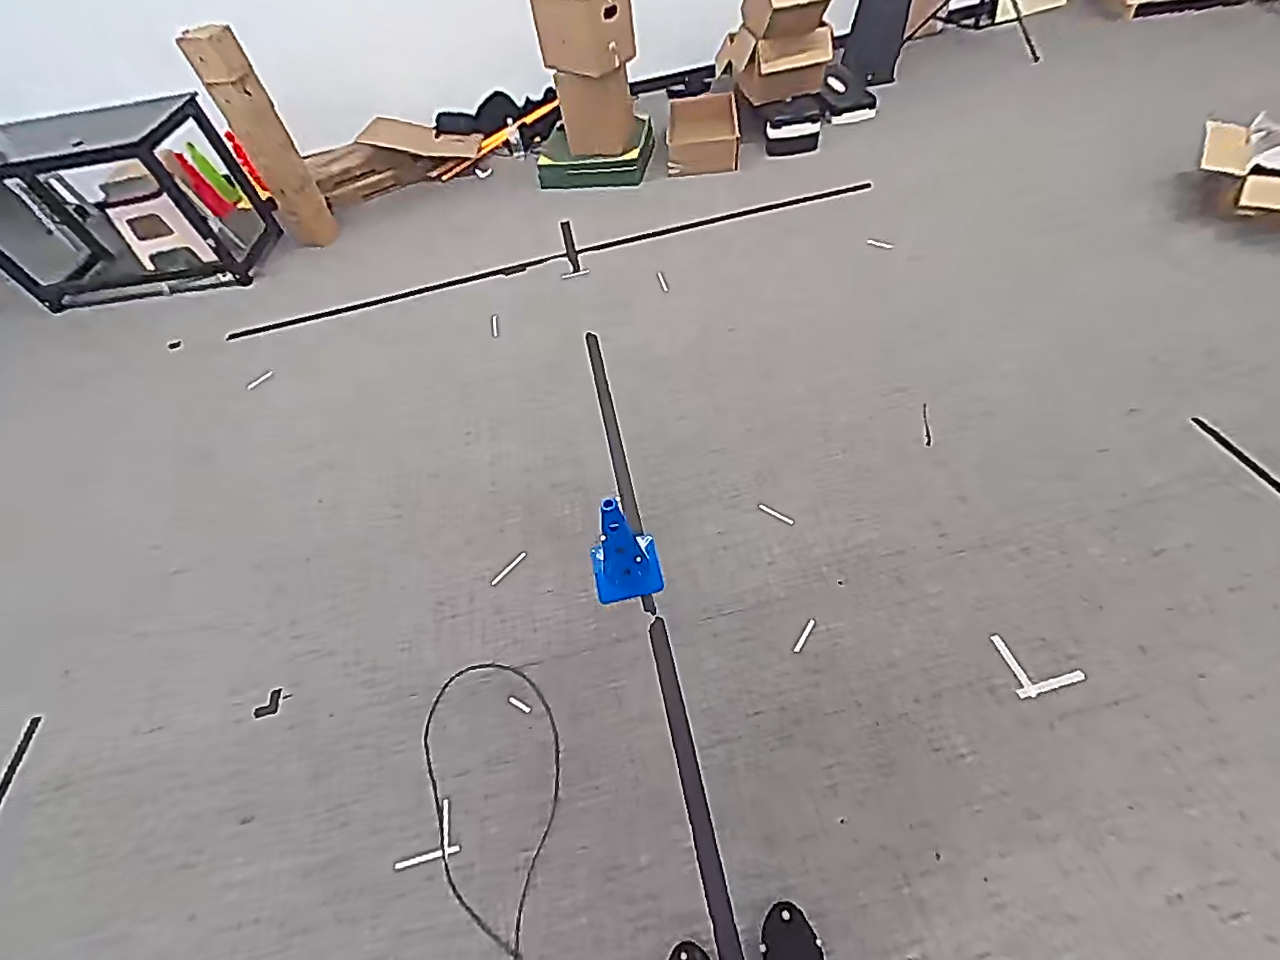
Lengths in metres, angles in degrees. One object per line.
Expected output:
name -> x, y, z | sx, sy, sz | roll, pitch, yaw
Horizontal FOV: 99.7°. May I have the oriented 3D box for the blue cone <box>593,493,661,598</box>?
blue cone -> -0.060, 0.162, 1.499 | 0.193, 0.380, 0.192 | -15, 53, -2
